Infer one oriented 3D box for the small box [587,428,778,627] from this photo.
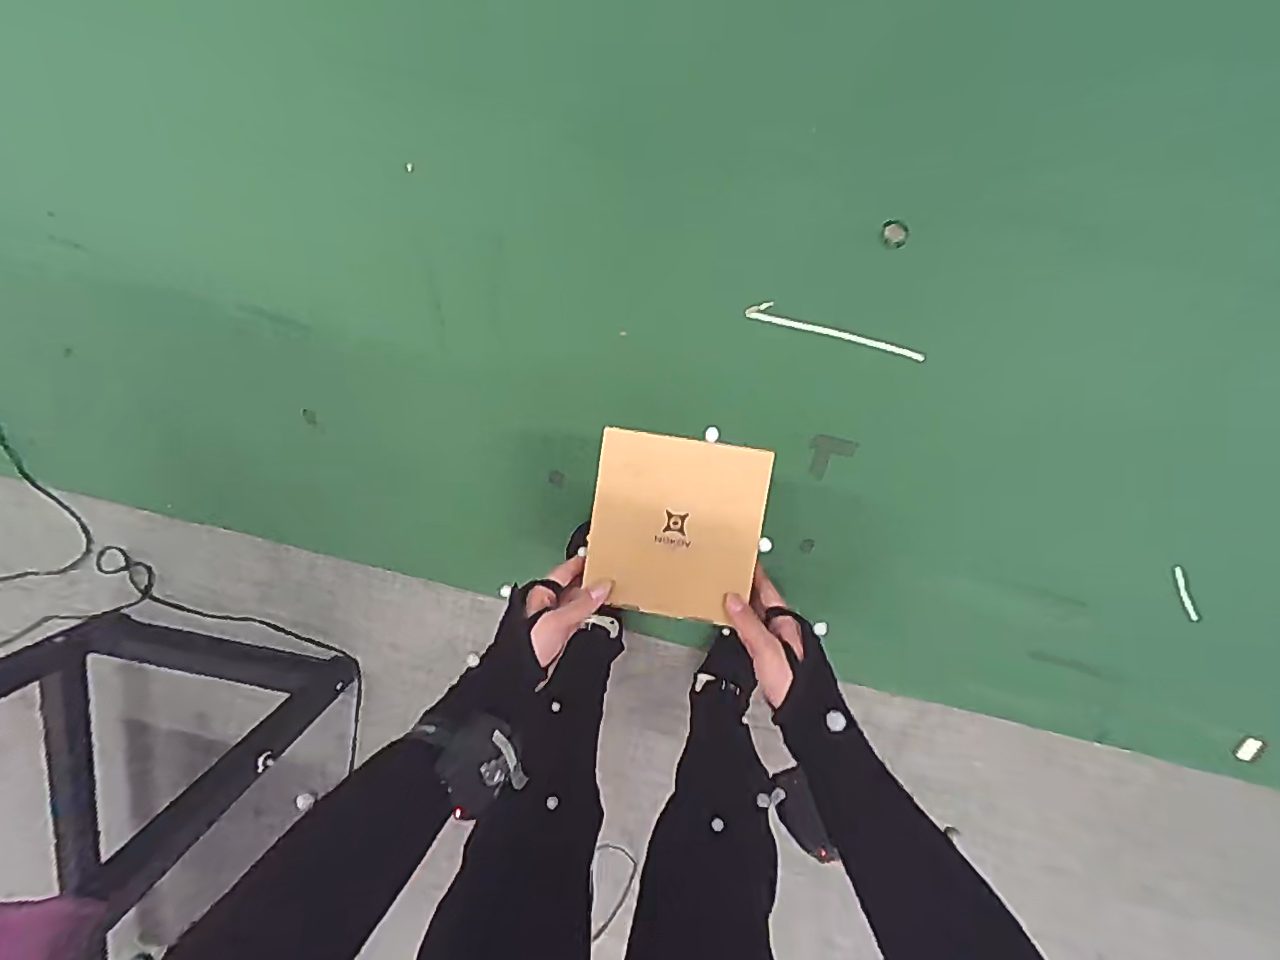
[{"bbox_3d":[0.047,0.040,0.604,0.168,0.176,0.179,8,96,6],"label":"small box"}]
